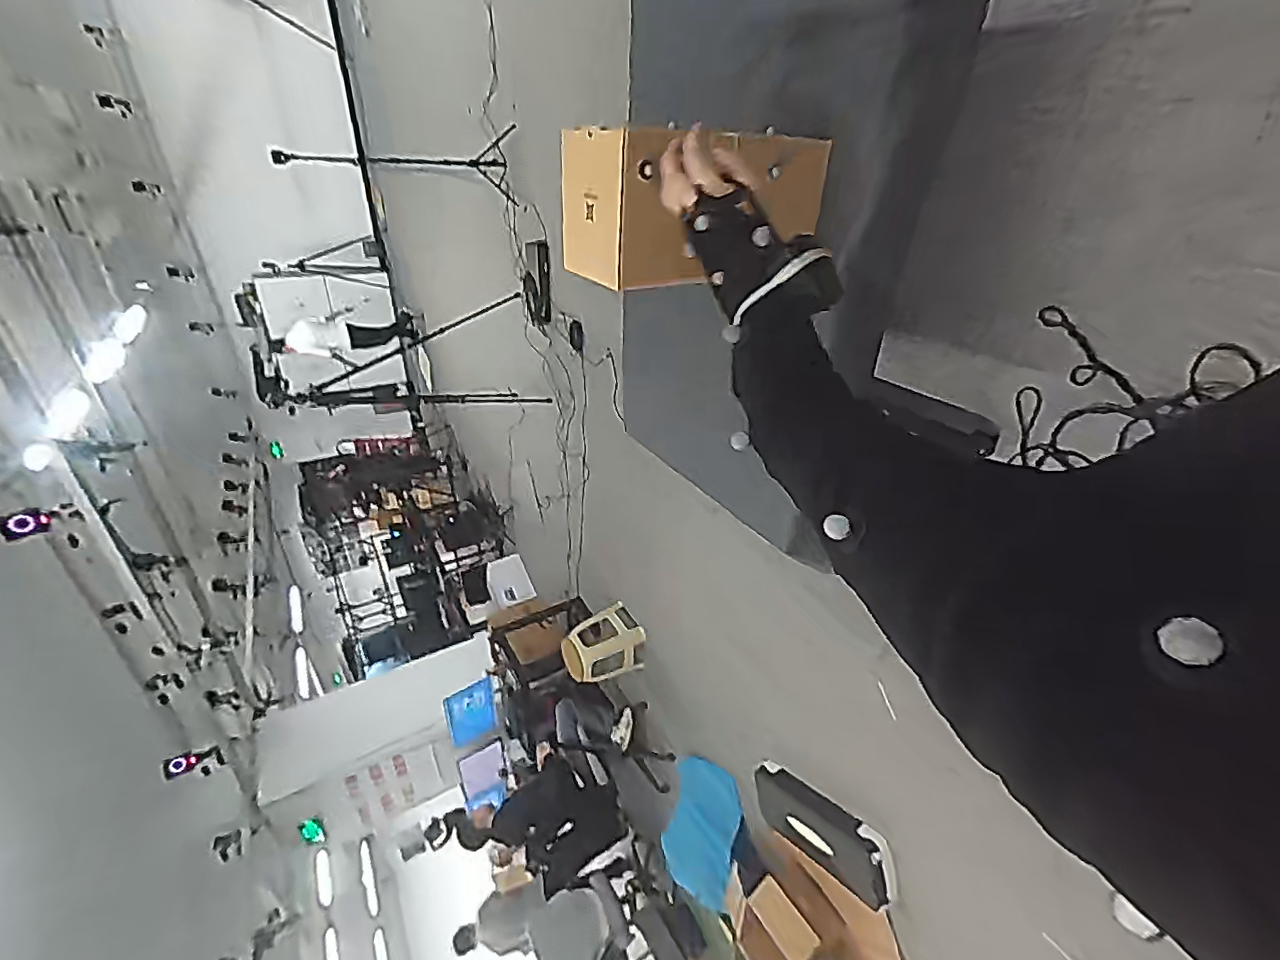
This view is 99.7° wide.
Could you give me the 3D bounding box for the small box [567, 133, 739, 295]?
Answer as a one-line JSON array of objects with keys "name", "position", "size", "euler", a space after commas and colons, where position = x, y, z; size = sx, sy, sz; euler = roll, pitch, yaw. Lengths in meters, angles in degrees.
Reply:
[{"name": "small box", "position": [0.013, -0.360, 0.729], "size": [0.168, 0.176, 0.179], "euler": [42, 137, 47]}]
